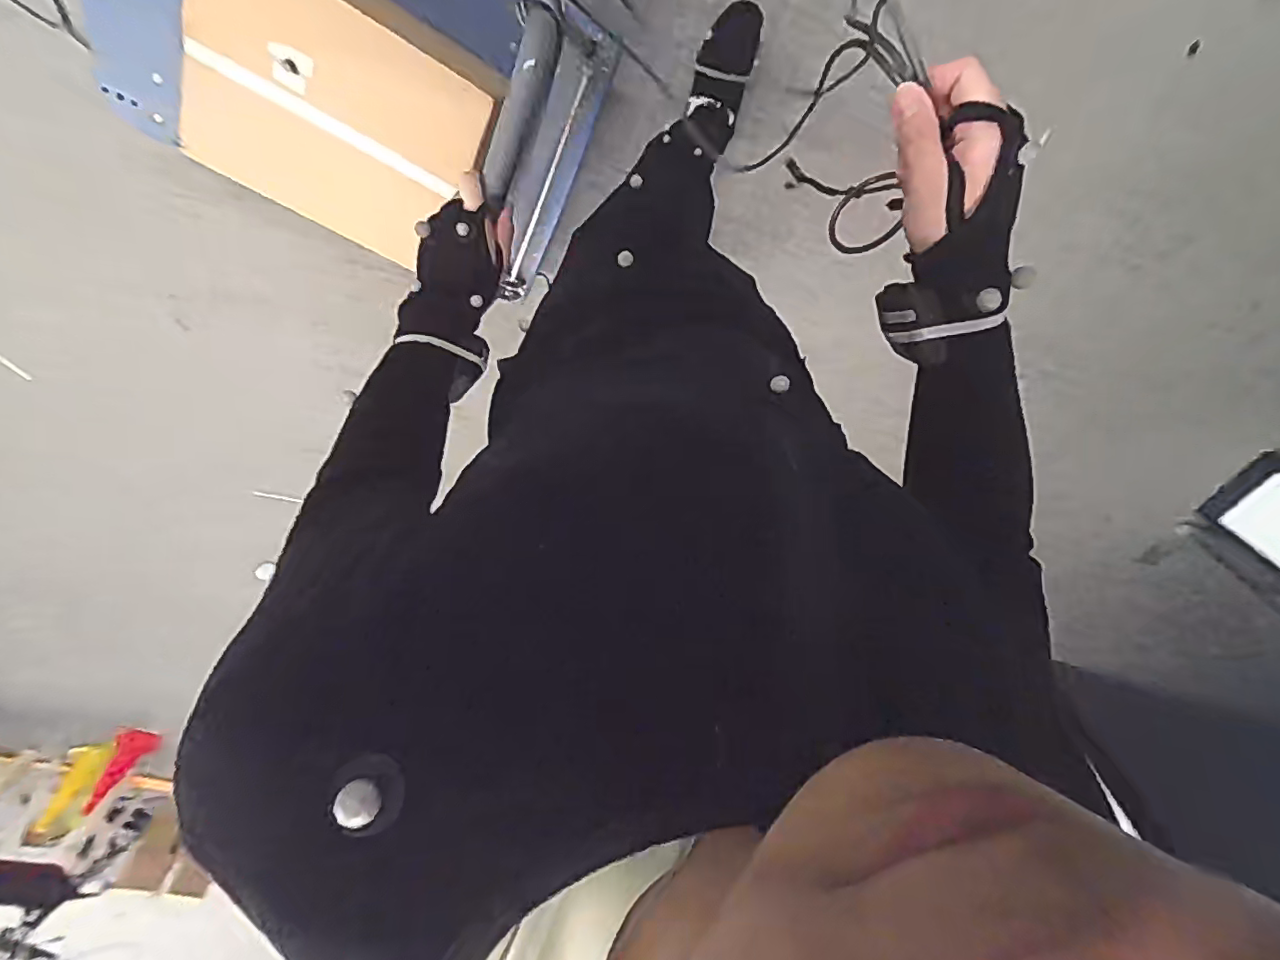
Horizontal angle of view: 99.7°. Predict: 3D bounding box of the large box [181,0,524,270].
[{"bbox_3d":[-0.457,-0.635,0.924,0.408,0.320,0.320,24,124,-19],"label":"large box"}]
